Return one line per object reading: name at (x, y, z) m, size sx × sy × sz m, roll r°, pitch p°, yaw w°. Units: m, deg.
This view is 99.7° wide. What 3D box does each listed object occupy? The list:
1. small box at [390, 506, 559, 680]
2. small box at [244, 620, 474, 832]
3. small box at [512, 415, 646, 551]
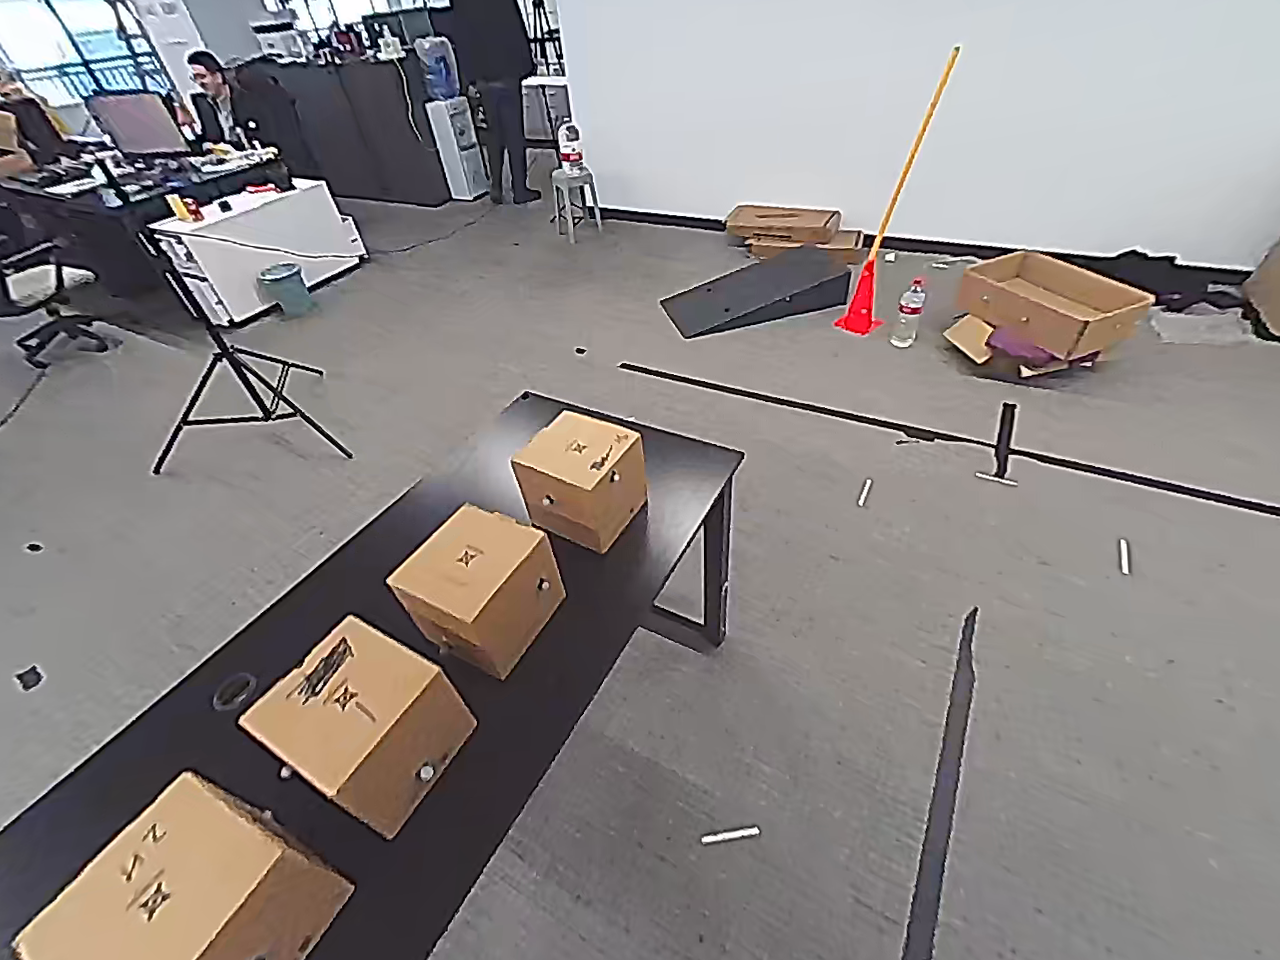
small box at (-0.245, 0.177, 0.853) m, size 0.168 × 0.176 × 0.179 m, roll 17°, pitch 49°, yaw 24°
small box at (-0.353, 0.323, 0.709) m, size 0.179 × 0.176 × 0.168 m, roll 19°, pitch 49°, yaw 24°
small box at (-0.106, 0.006, 1.014) m, size 0.179 × 0.176 × 0.168 m, roll 19°, pitch 49°, yaw 26°
